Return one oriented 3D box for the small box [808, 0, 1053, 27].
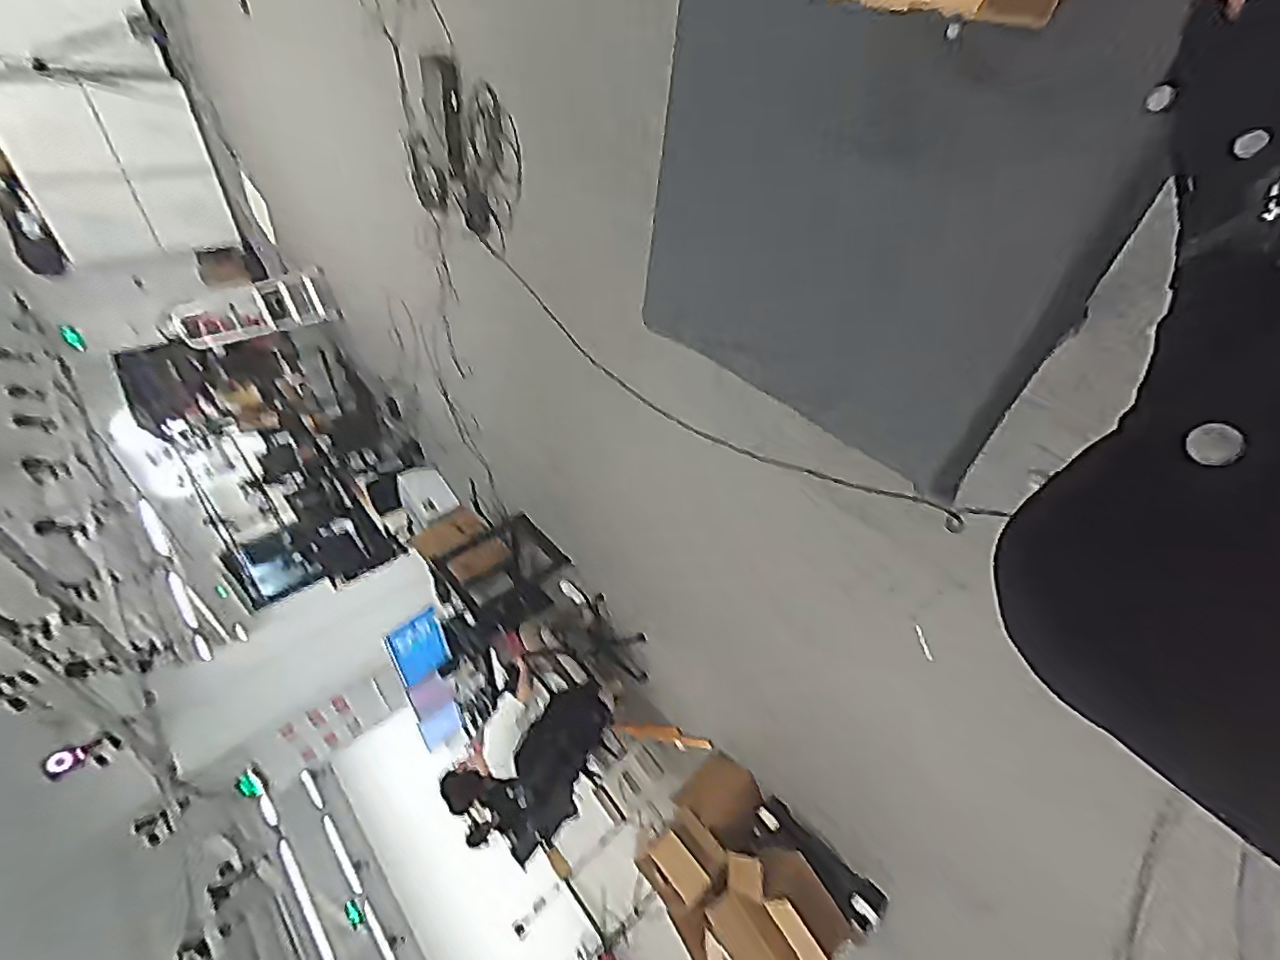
[{"bbox_3d":[0.273,-0.497,0.447,0.168,0.176,0.179,38,140,30],"label":"small box"}]
